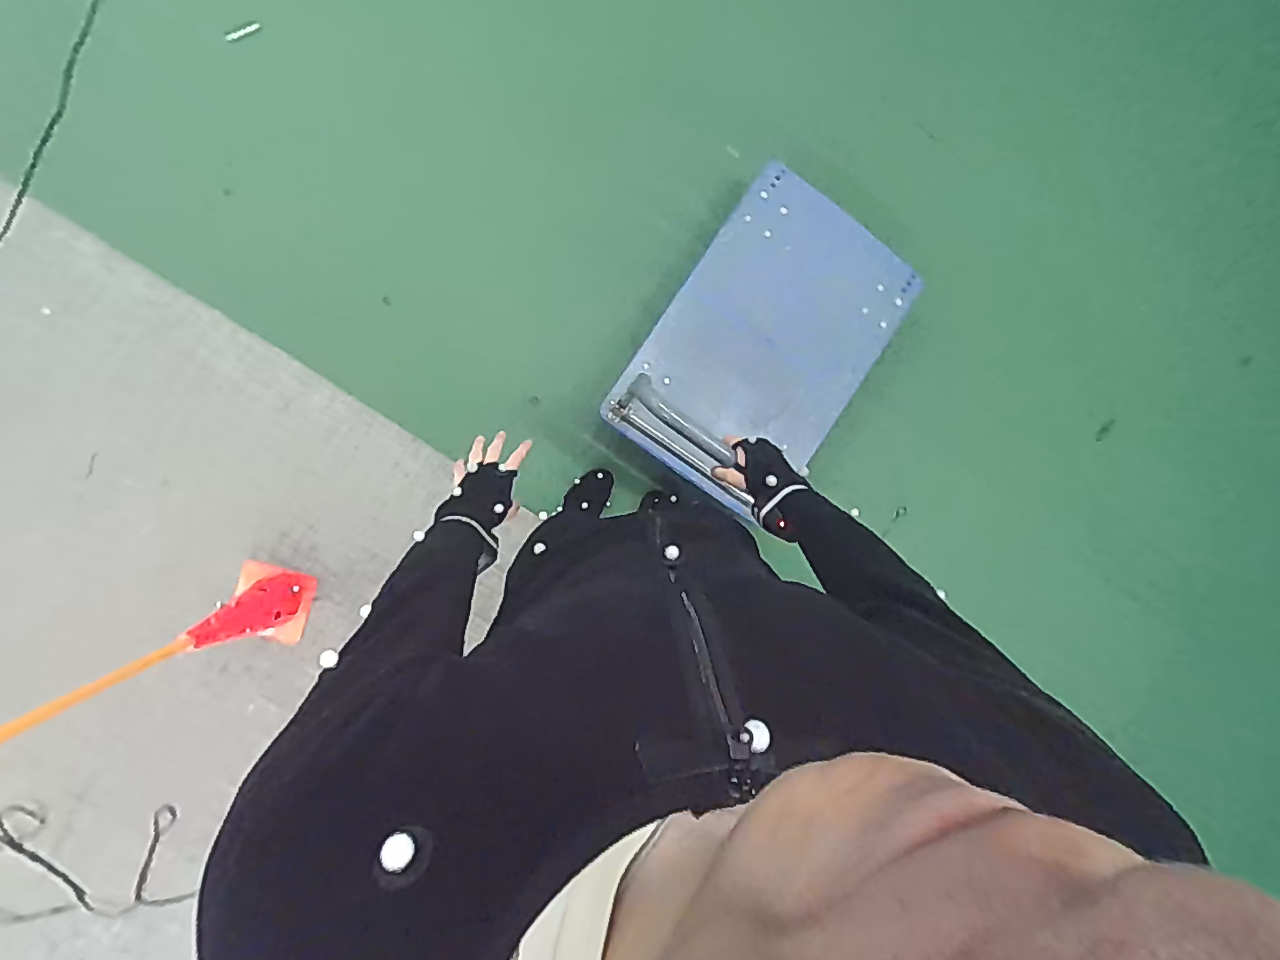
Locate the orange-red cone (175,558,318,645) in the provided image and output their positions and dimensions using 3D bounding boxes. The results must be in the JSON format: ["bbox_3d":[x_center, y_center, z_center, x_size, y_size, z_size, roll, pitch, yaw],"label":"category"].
[{"bbox_3d":[-1.008,0.338,1.342,0.199,0.360,0.198,19,89,-6],"label":"orange-red cone"}]
